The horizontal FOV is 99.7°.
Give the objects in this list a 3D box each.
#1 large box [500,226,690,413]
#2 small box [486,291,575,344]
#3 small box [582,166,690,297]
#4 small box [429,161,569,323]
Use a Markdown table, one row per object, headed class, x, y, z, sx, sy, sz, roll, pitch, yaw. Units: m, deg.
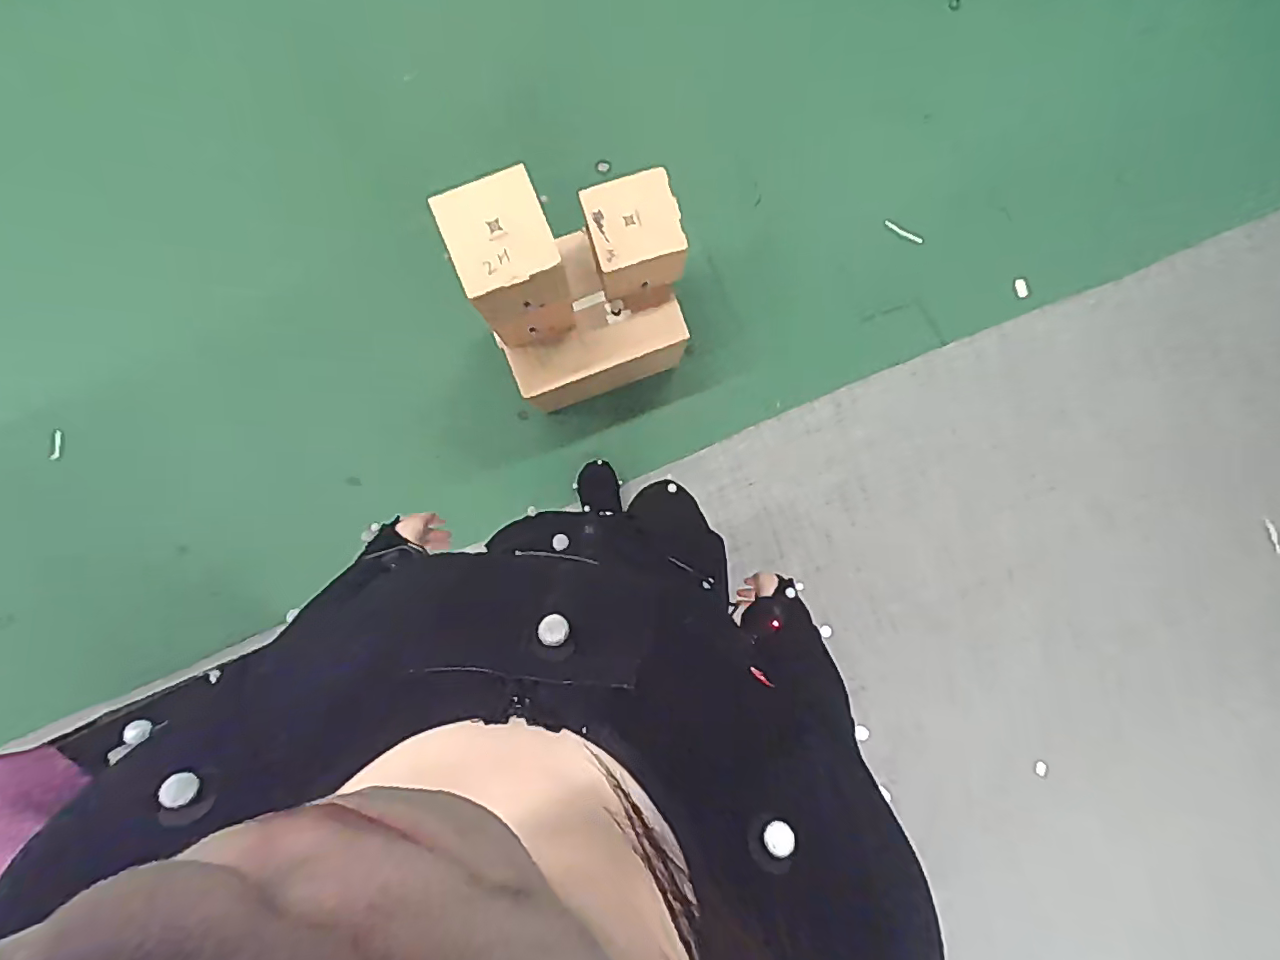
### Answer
| class | x | y | z | sx | sy | sz | roll | pitch | yaw |
| --- | --- | --- | --- | --- | --- | --- | --- | --- | --- |
| large box | -0.131 | -0.395 | 1.345 | 0.408 | 0.320 | 0.320 | -21 | 92 | -2 |
| small box | -0.241 | -0.401 | 1.099 | 0.168 | 0.176 | 0.179 | -21 | 91 | -2 |
| small box | -0.011 | -0.496 | 1.102 | 0.179 | 0.176 | 0.168 | -16 | 90 | -1 |
| small box | -0.232 | -0.399 | 0.935 | 0.168 | 0.176 | 0.179 | -22 | 92 | -2 |
